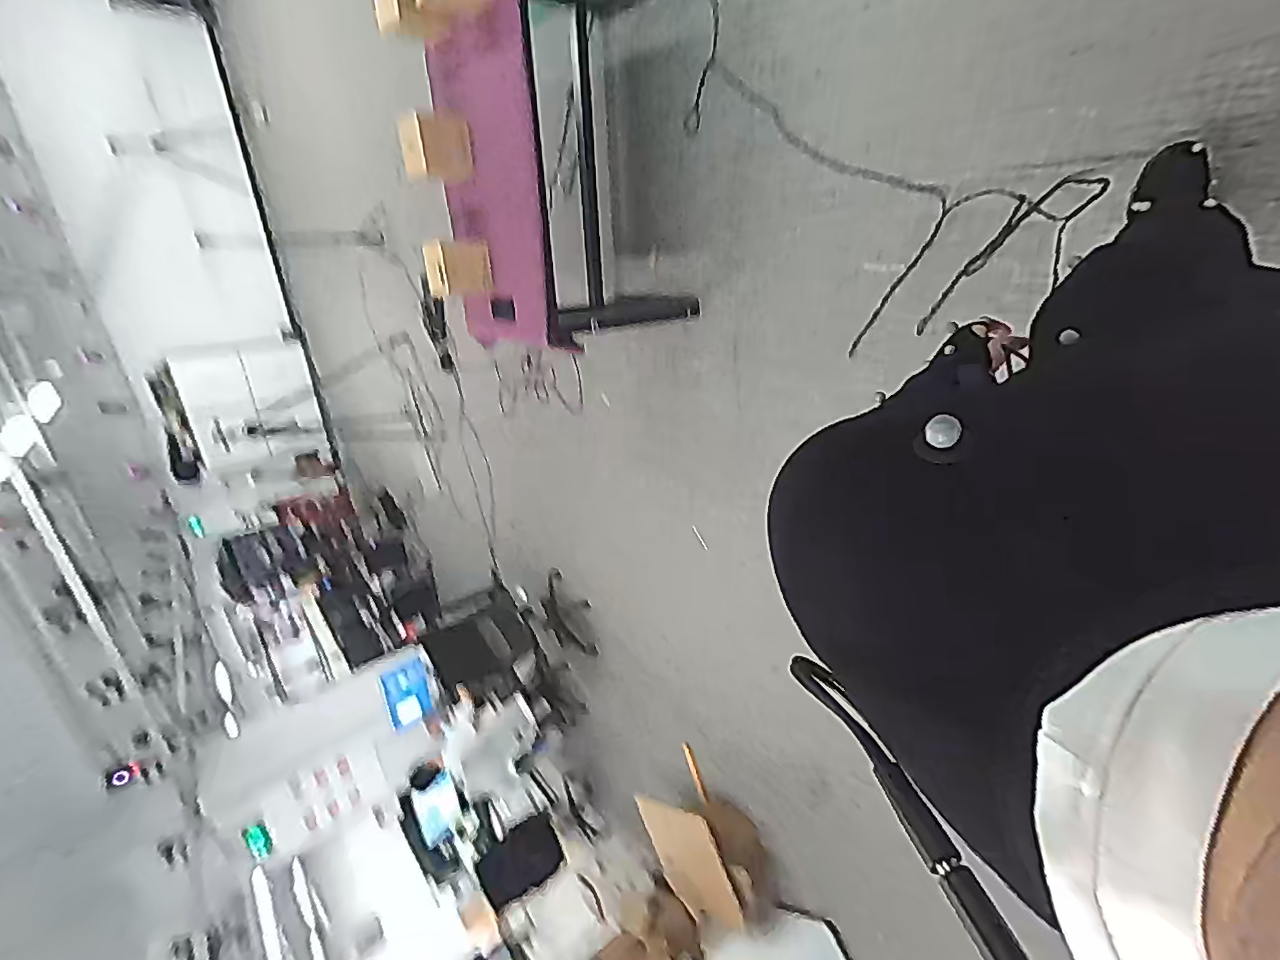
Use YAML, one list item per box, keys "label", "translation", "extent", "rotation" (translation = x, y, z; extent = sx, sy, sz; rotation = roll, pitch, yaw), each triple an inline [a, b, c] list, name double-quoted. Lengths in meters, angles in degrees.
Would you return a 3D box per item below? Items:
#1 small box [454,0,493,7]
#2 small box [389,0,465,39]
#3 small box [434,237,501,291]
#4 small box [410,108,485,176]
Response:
- label: "small box"
  translation: [-0.454, -1.371, 1.404]
  extent: [0.179, 0.176, 0.168]
  rotation: [23, 125, 46]
- label: "small box"
  translation: [-0.647, -1.463, 1.628]
  extent: [0.179, 0.176, 0.168]
  rotation: [26, 127, 45]
- label: "small box"
  translation: [-0.602, -0.764, 1.907]
  extent: [0.179, 0.176, 0.168]
  rotation: [24, 124, 47]
- label: "small box"
  translation: [-0.632, -1.107, 1.784]
  extent: [0.179, 0.176, 0.168]
  rotation: [23, 125, 46]
